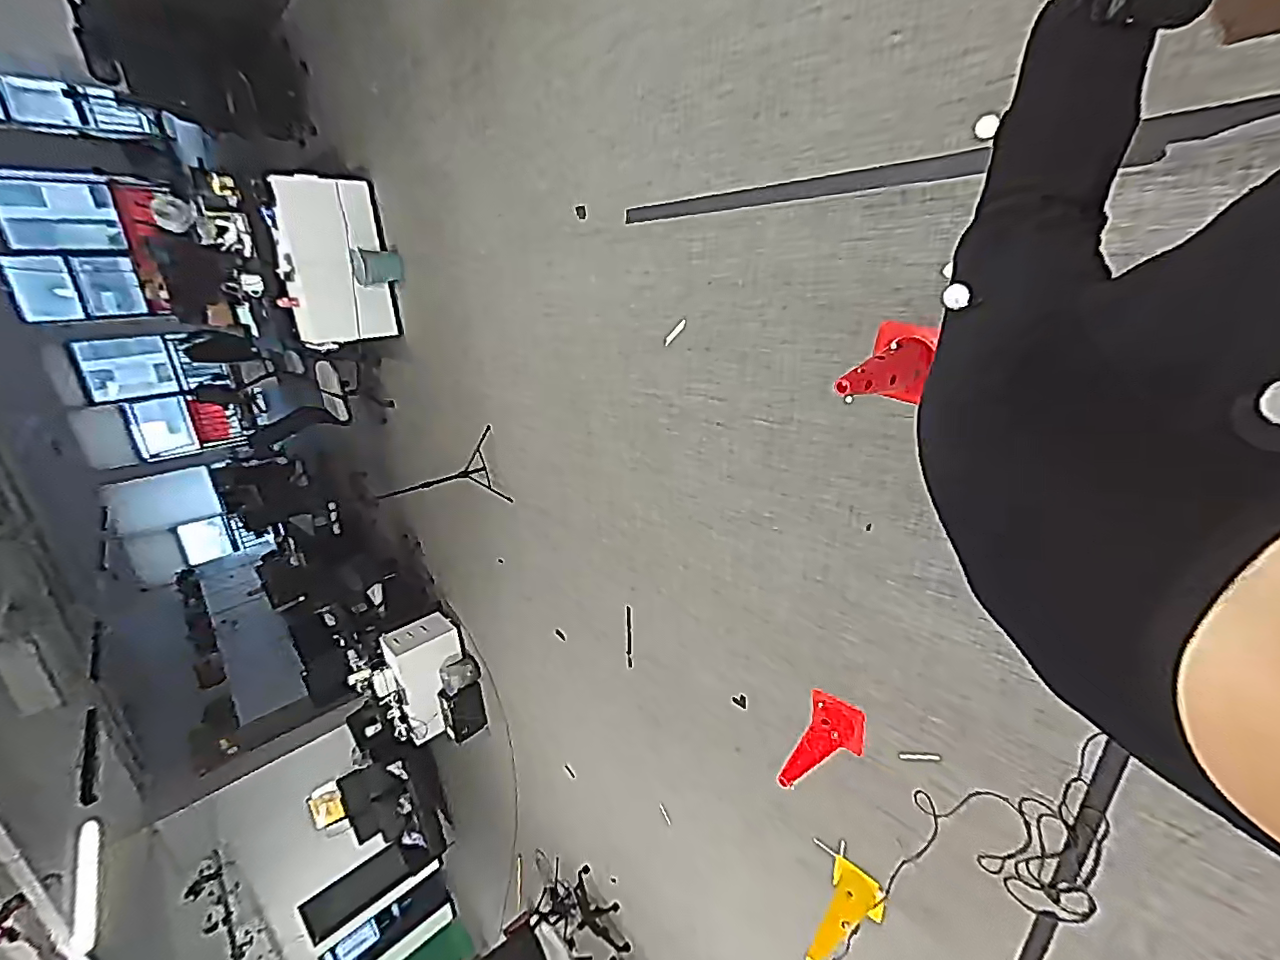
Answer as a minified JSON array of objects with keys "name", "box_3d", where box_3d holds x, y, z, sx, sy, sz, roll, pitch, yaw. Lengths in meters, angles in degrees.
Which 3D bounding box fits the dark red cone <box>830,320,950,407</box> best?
[{"name":"dark red cone","box_3d":[0.570,-0.260,1.306,0.201,0.394,0.202,26,125,40]}]

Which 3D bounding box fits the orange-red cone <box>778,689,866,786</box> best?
[{"name":"orange-red cone","box_3d":[0.593,0.922,1.849,0.198,0.360,0.199,17,120,46]}]
